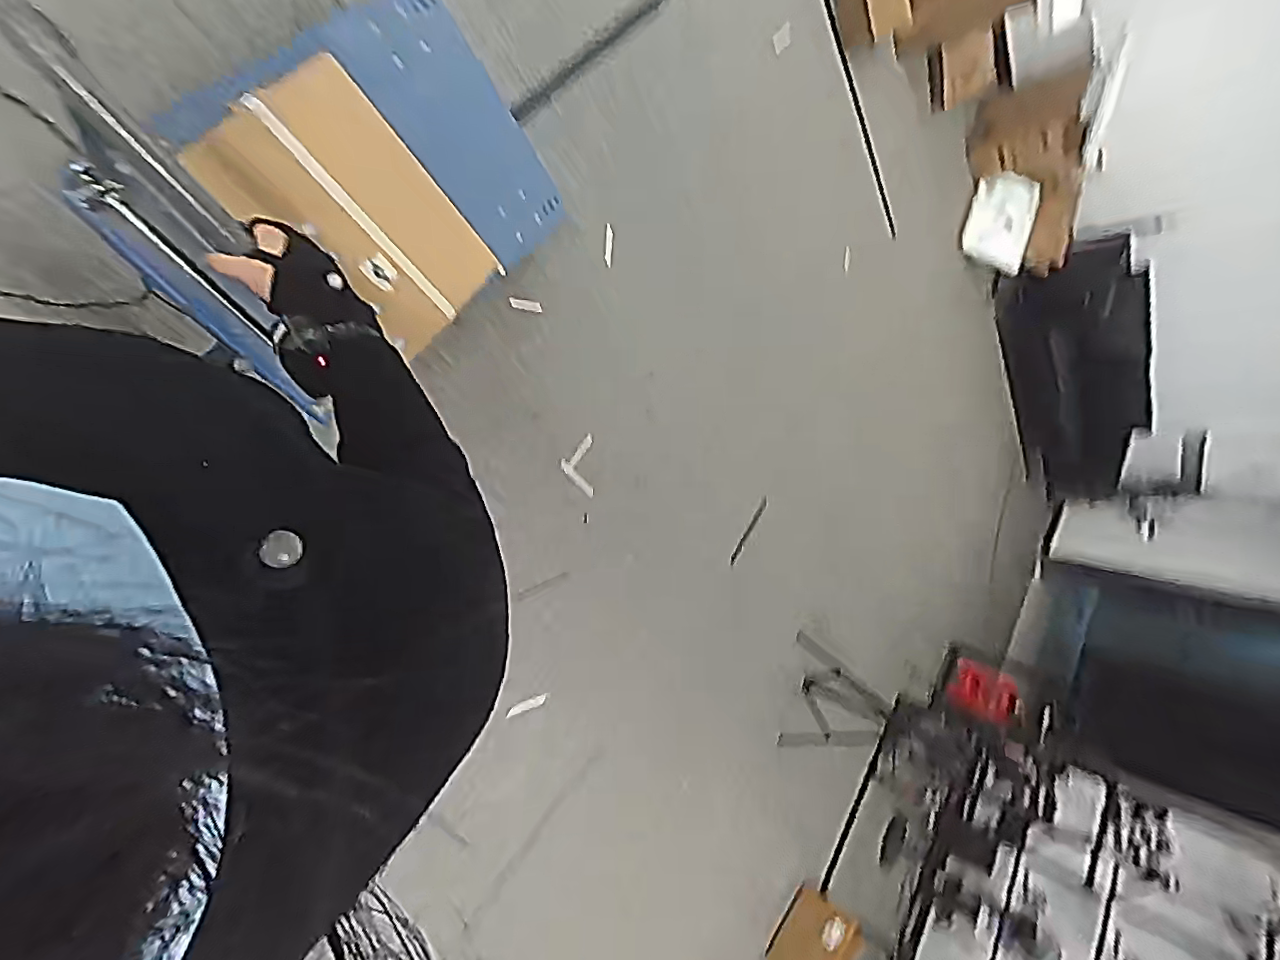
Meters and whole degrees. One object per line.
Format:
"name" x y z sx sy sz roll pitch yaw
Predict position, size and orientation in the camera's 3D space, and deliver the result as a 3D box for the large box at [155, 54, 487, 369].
"large box" -0.590 -0.462 1.030 0.320 0.320 0.408 -56 130 -19
